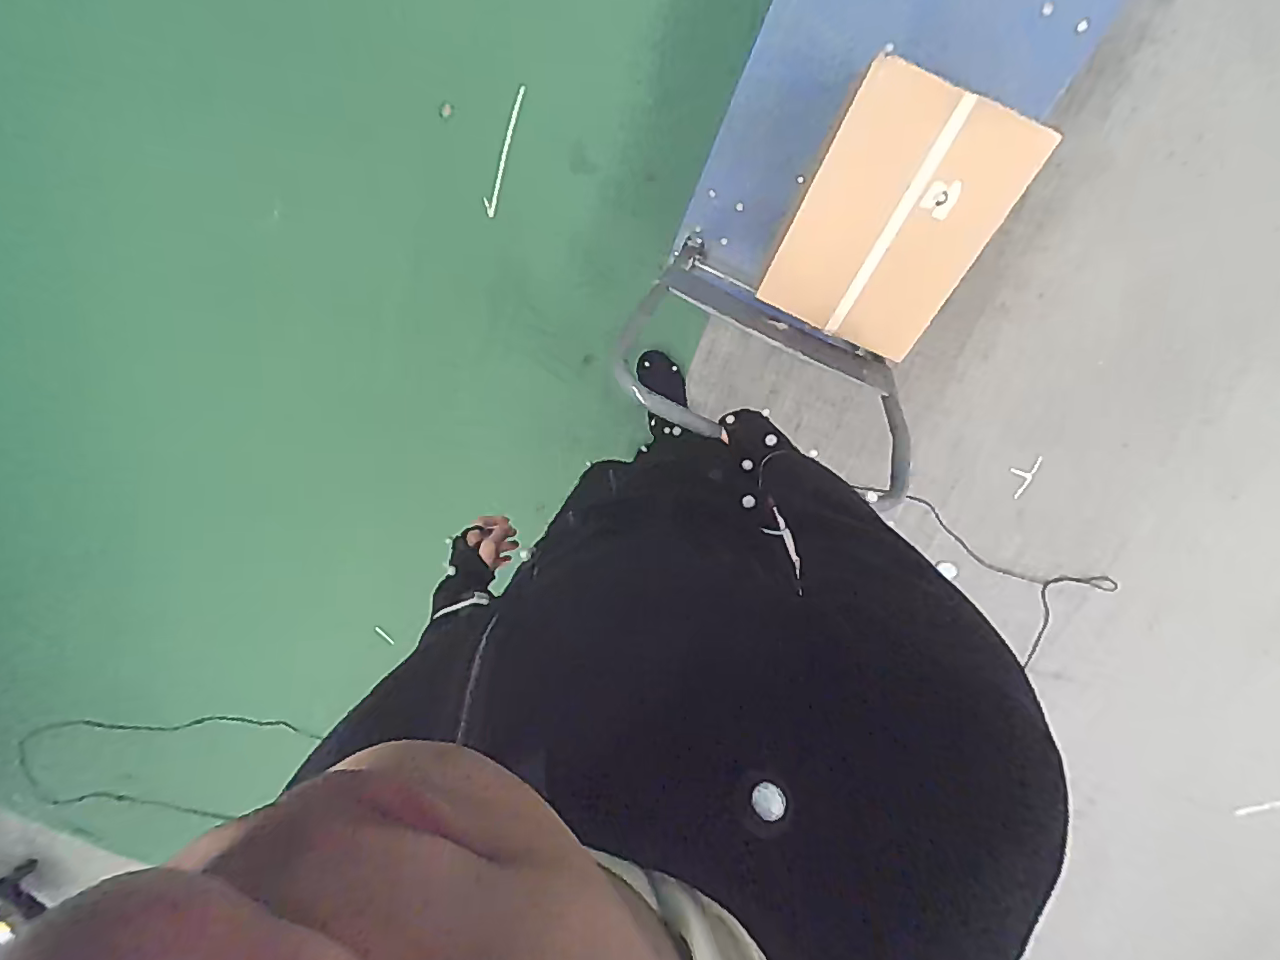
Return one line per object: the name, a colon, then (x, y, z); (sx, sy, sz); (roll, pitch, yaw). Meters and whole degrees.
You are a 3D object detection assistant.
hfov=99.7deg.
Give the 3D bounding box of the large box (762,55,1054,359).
large box: (0.473, -0.518, 1.067); (0.320, 0.320, 0.408); (25, 123, -1)
